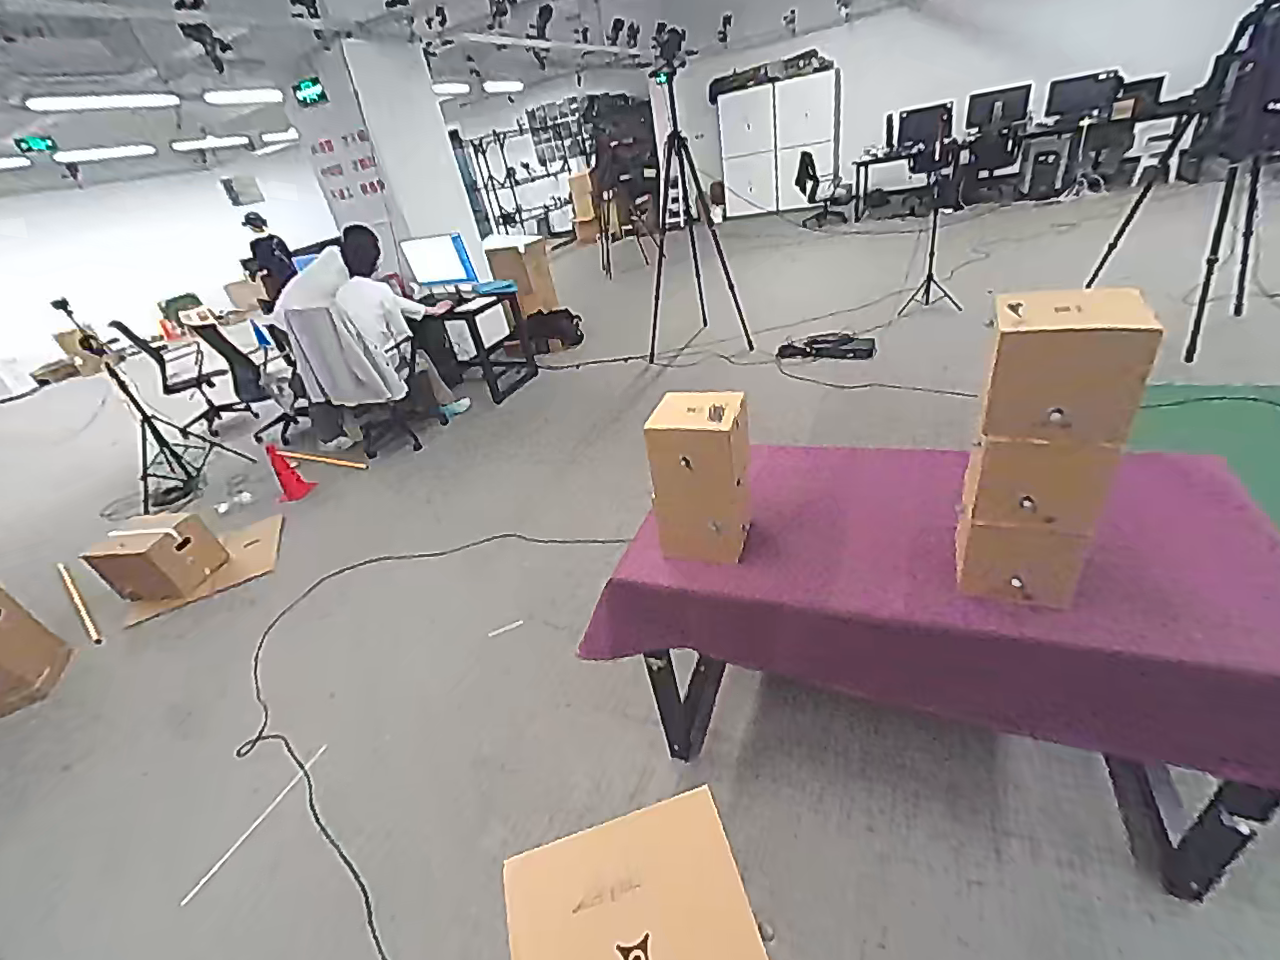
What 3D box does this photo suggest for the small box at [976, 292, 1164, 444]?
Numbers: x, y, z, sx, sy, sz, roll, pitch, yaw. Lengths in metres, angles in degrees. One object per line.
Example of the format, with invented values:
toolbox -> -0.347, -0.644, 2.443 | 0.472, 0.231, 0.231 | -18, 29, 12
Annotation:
small box -> 0.617, -0.167, 0.802 | 0.179, 0.176, 0.168 | 7, 37, 27

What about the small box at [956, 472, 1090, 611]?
small box -> 0.675, 0.104, 0.976 | 0.168, 0.176, 0.179 | 5, 36, 26

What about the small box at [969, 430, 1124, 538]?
small box -> 0.649, -0.031, 0.889 | 0.168, 0.176, 0.179 | 5, 37, 26

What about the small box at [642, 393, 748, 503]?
small box -> 0.123, -0.067, 1.123 | 0.179, 0.176, 0.168 | 3, 34, 22
